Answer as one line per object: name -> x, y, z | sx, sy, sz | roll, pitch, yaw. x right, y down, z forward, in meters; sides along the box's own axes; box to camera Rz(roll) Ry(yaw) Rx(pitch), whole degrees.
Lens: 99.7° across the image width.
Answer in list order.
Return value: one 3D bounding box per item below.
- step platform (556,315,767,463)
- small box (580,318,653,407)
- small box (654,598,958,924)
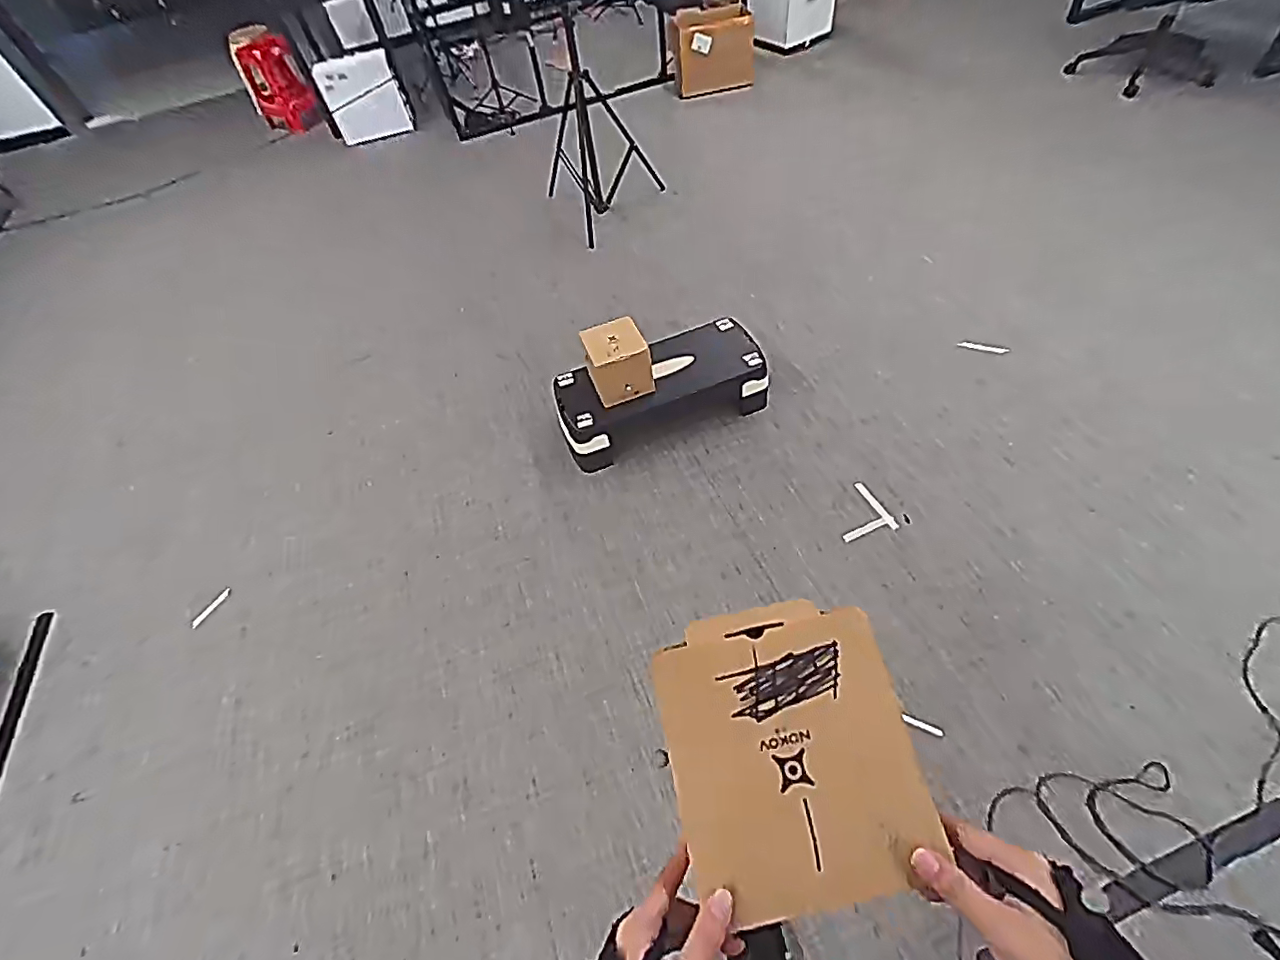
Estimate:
step platform -> 0.071, -0.312, 1.800 | 0.684, 0.204, 0.286 | -21, 53, -7
small box -> -0.068, -0.353, 1.633 | 0.168, 0.176, 0.179 | -20, 54, -6
small box -> 0.108, 0.211, 0.442 | 0.168, 0.176, 0.179 | -12, 68, -1
